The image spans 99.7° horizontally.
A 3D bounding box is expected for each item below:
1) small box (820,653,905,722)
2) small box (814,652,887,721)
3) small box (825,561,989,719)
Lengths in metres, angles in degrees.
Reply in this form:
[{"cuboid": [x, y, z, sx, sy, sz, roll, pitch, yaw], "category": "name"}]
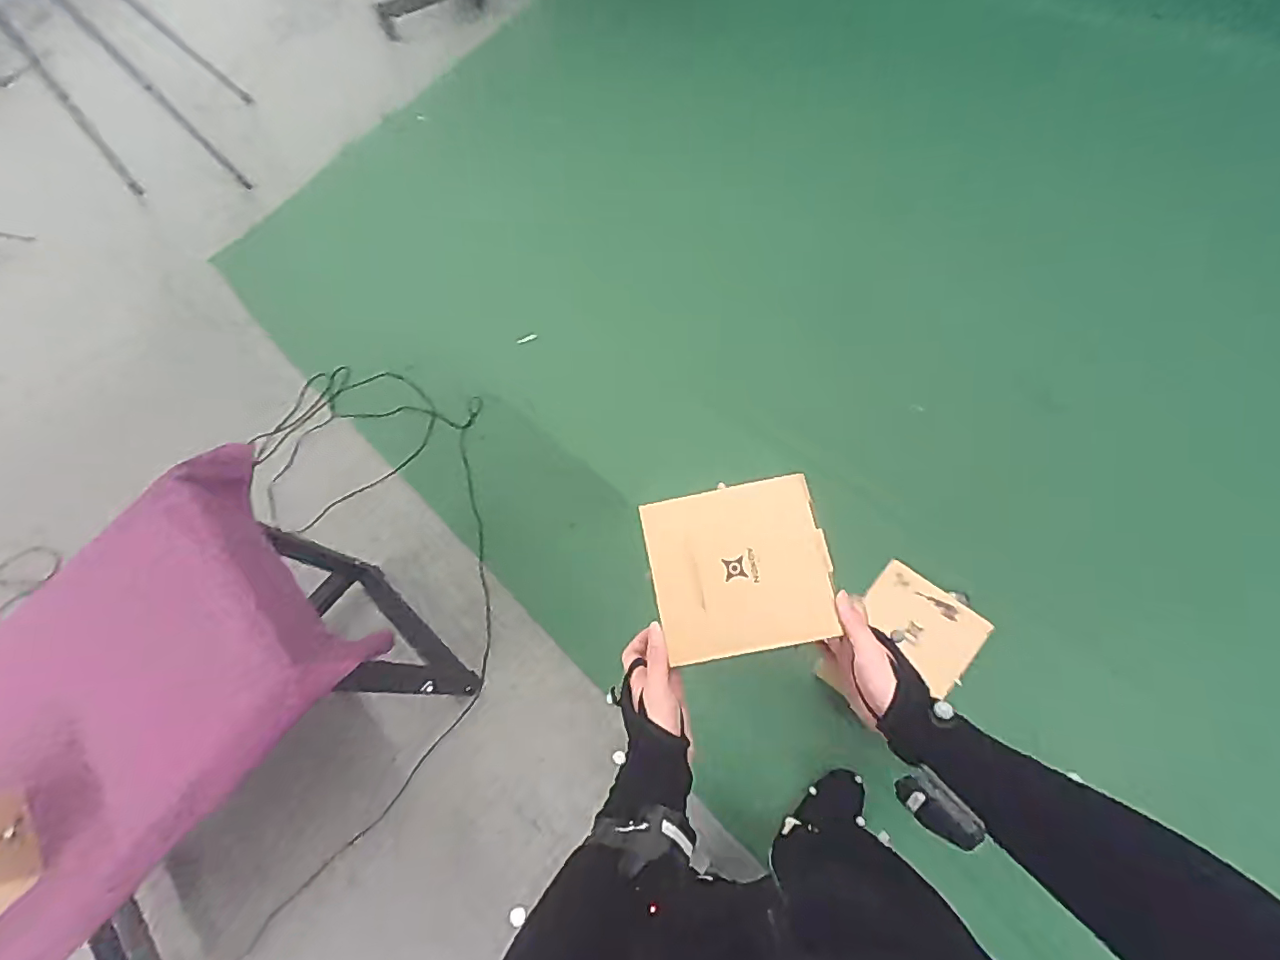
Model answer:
[{"cuboid": [0.516, 0.399, 1.178, 0.179, 0.176, 0.168, 37, 79, 25], "category": "small box"}, {"cuboid": [0.549, 0.462, 1.323, 0.179, 0.176, 0.168, 35, 78, 24], "category": "small box"}, {"cuboid": [0.424, 0.268, 0.891, 0.168, 0.176, 0.179, 38, 81, 25], "category": "small box"}]
